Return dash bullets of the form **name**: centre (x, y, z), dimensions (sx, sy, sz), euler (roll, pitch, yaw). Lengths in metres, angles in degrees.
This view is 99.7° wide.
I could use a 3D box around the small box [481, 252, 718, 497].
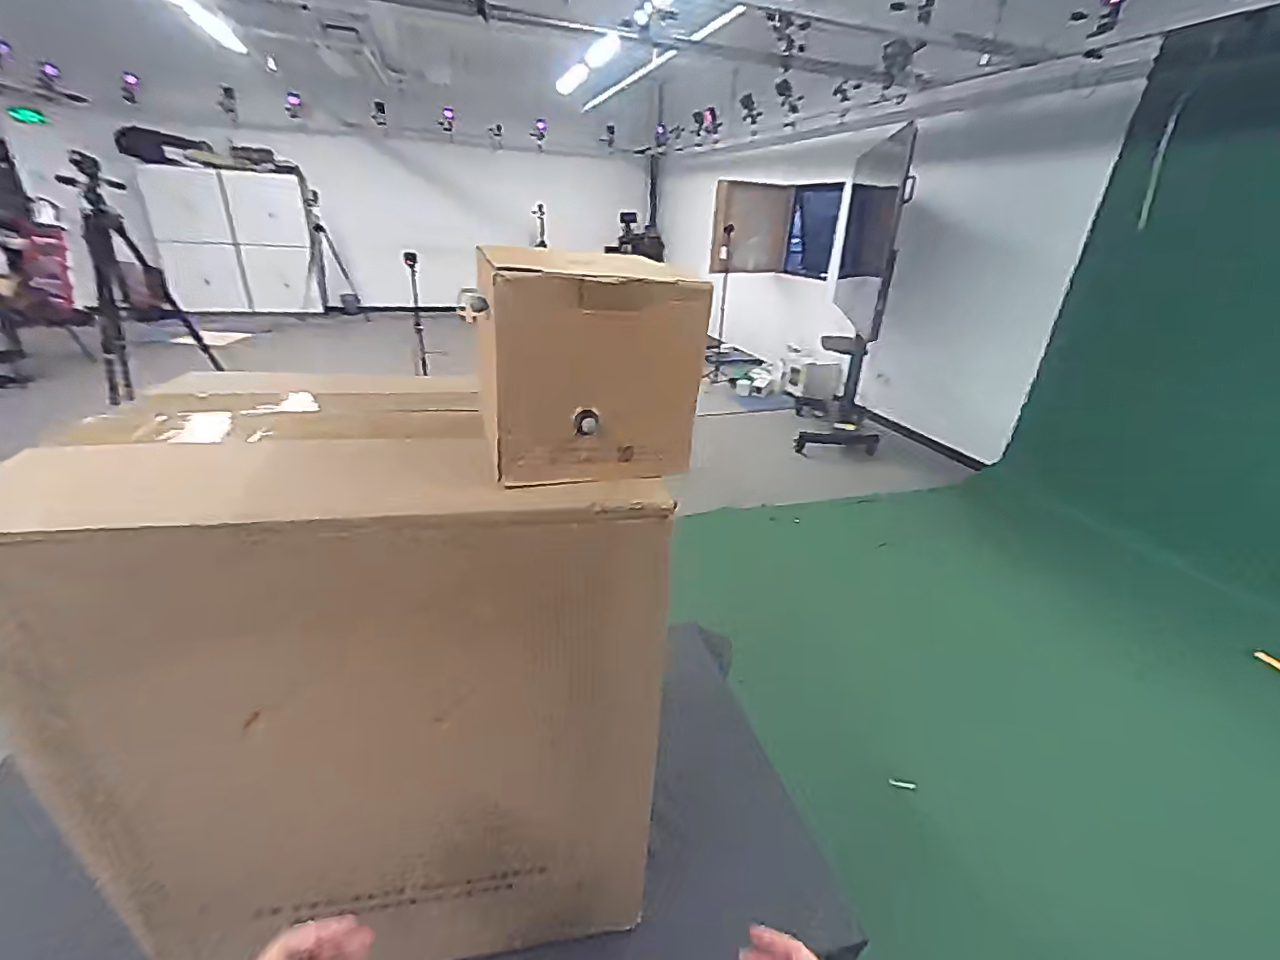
- **small box**: centre (-0.053, -0.099, 0.487), dimensions (0.168, 0.176, 0.179), euler (-4, 29, -20)
